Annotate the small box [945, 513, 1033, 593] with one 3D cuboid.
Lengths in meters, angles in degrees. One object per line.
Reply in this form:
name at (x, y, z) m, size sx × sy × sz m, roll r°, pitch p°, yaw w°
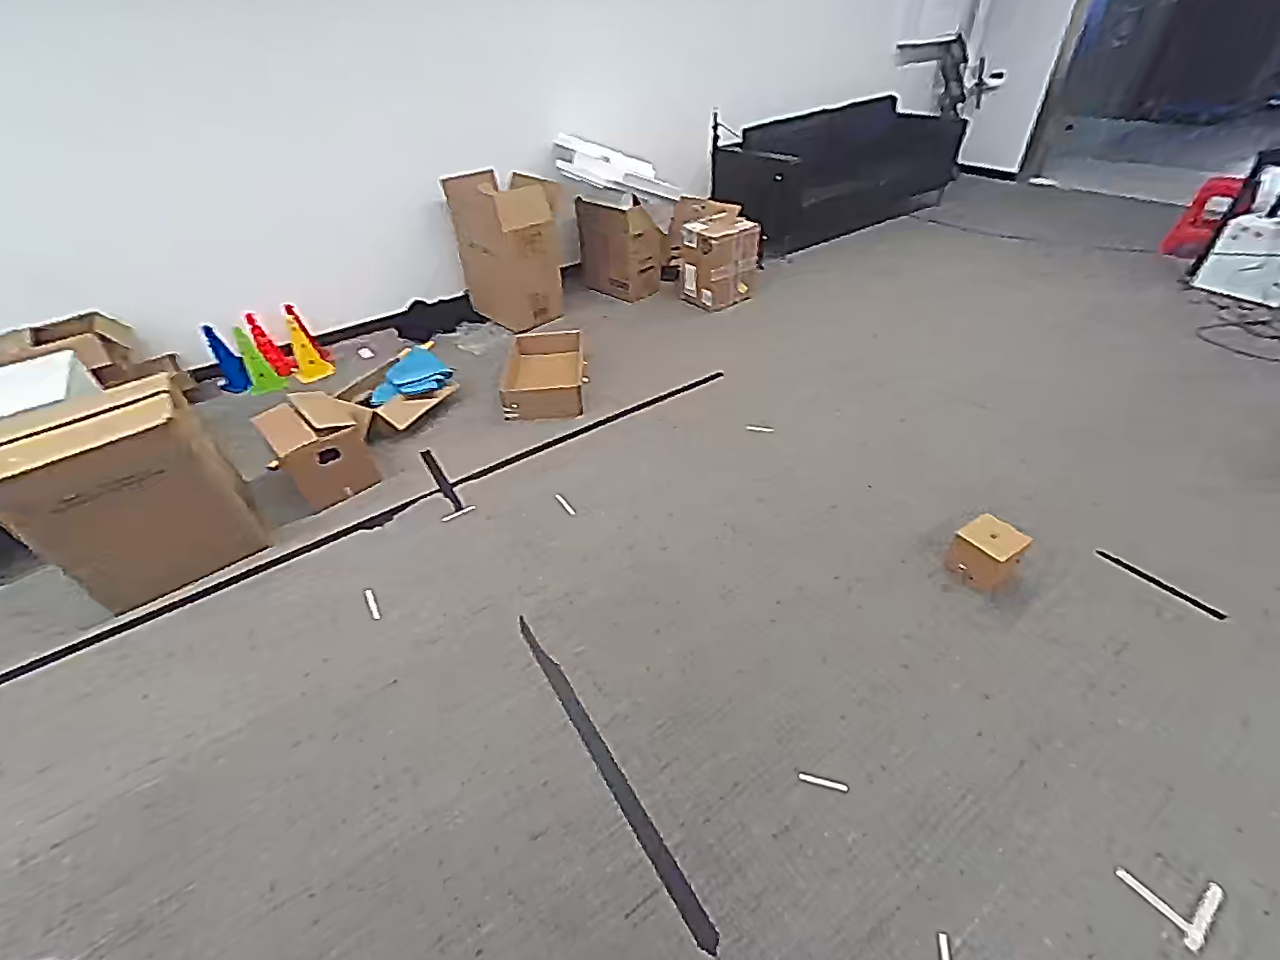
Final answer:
small box at (1.186, 0.250, 1.853) m, size 0.179 × 0.176 × 0.168 m, roll -25°, pitch 43°, yaw -21°
